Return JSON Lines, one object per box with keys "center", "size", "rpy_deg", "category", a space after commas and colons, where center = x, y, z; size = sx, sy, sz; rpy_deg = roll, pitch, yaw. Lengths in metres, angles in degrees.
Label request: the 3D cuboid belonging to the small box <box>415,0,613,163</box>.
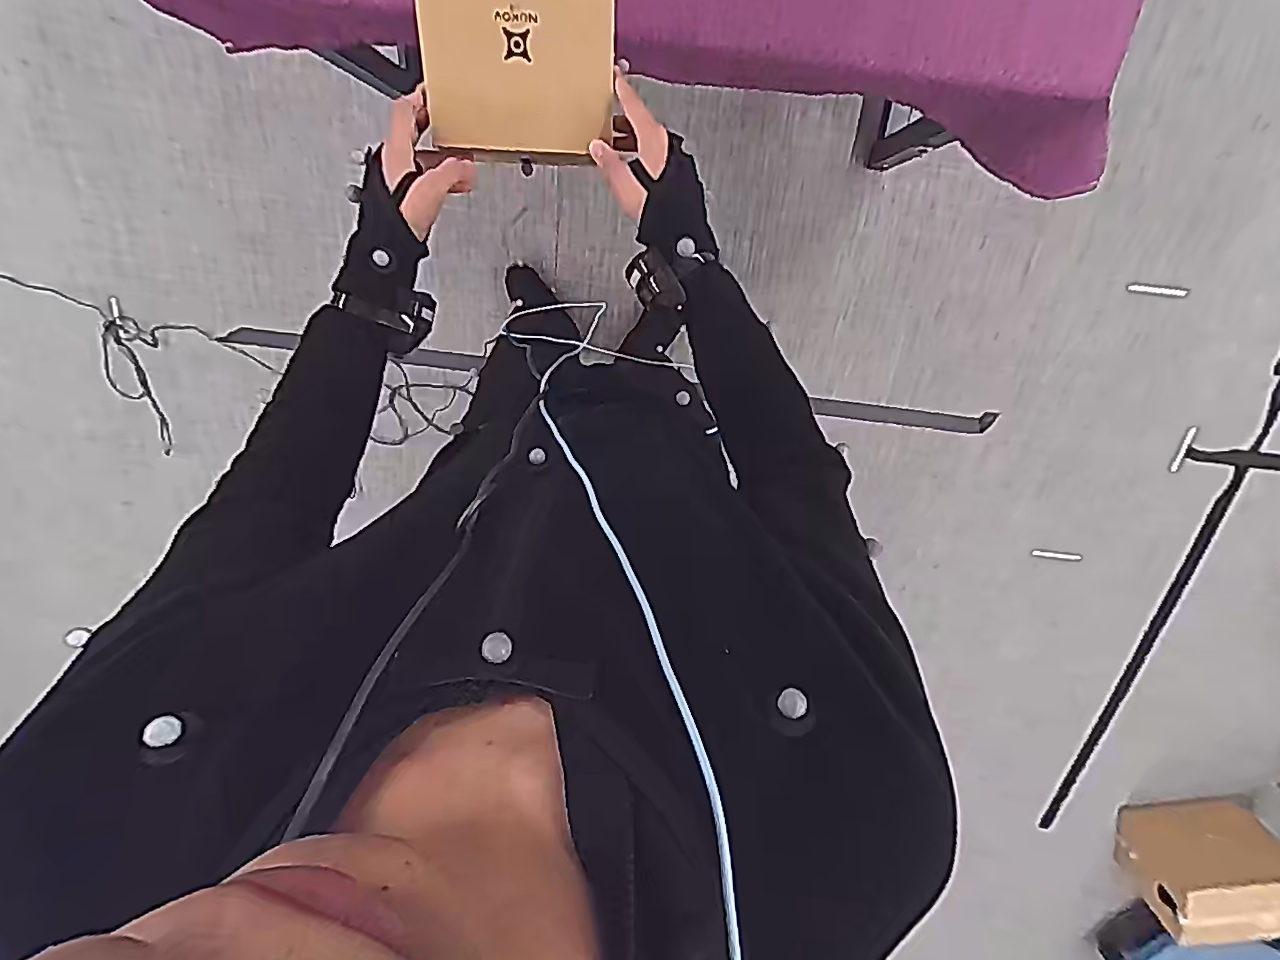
{"center": [-0.111, -0.418, 0.529], "size": [0.168, 0.176, 0.179], "rpy_deg": [0, 117, -6], "category": "small box"}
